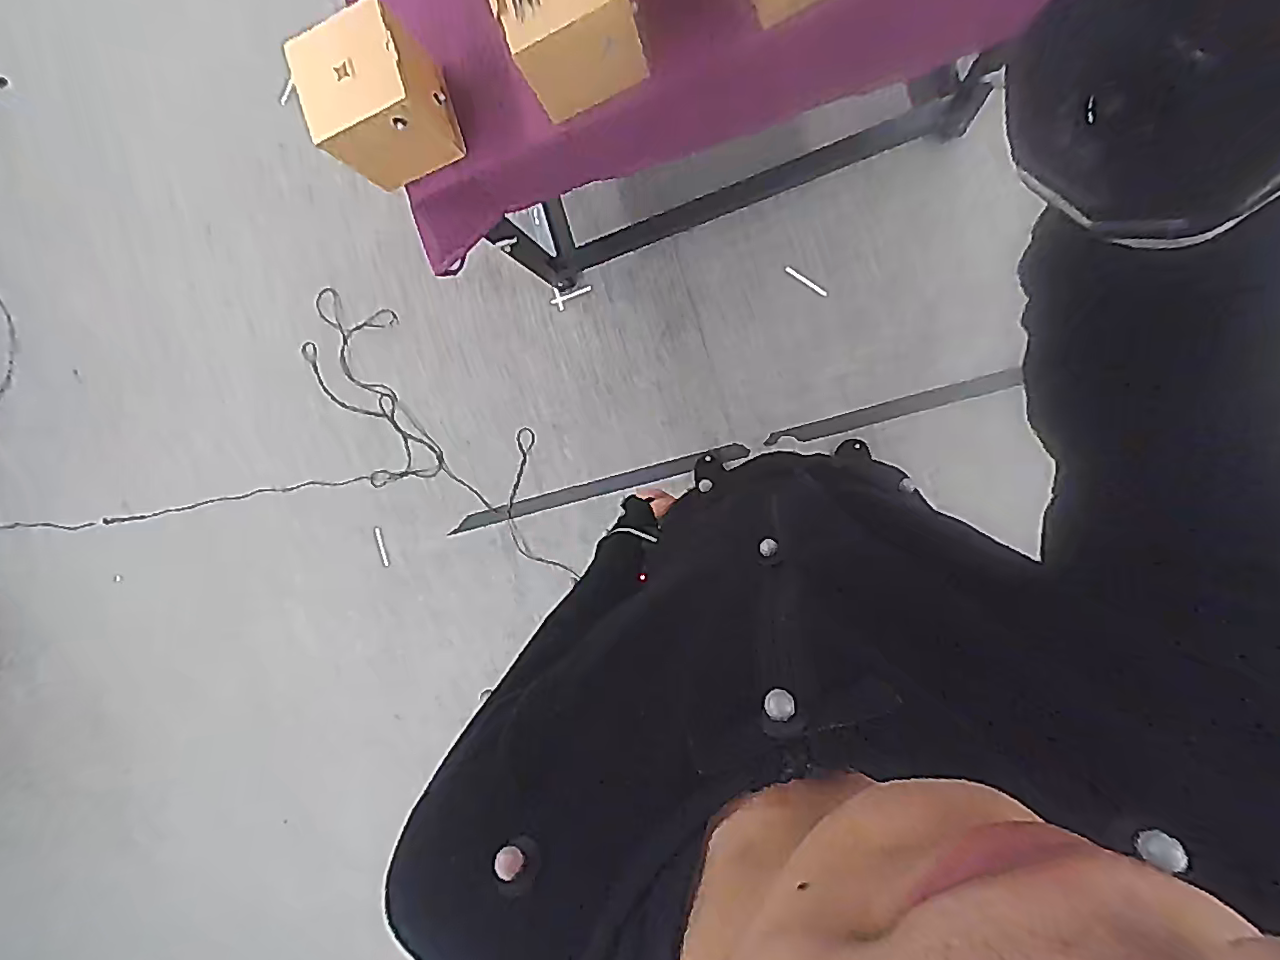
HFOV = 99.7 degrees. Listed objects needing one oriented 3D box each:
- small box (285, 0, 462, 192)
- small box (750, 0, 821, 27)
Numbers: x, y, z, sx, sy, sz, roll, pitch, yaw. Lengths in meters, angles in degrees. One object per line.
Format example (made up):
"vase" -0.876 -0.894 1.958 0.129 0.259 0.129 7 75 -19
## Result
"small box" -0.429 -0.615 0.893 0.179 0.176 0.168 -17 90 12
"small box" 0.213 -0.789 0.734 0.168 0.176 0.179 -20 90 14
